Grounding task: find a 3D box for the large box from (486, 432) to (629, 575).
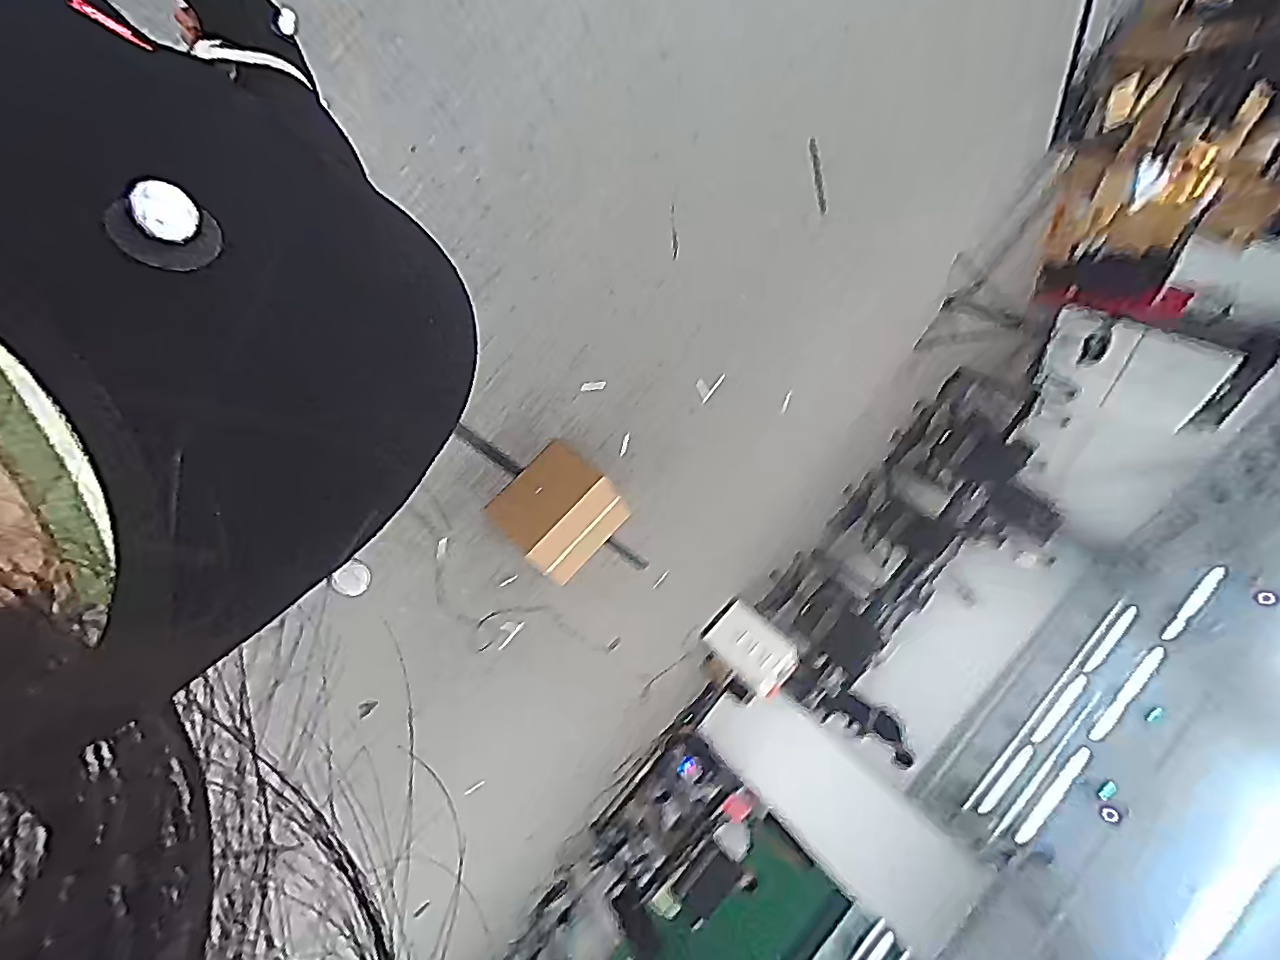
[{"bbox_3d":[-0.319,0.090,2.145,0.408,0.320,0.320,-47,146,-10],"label":"large box"}]
